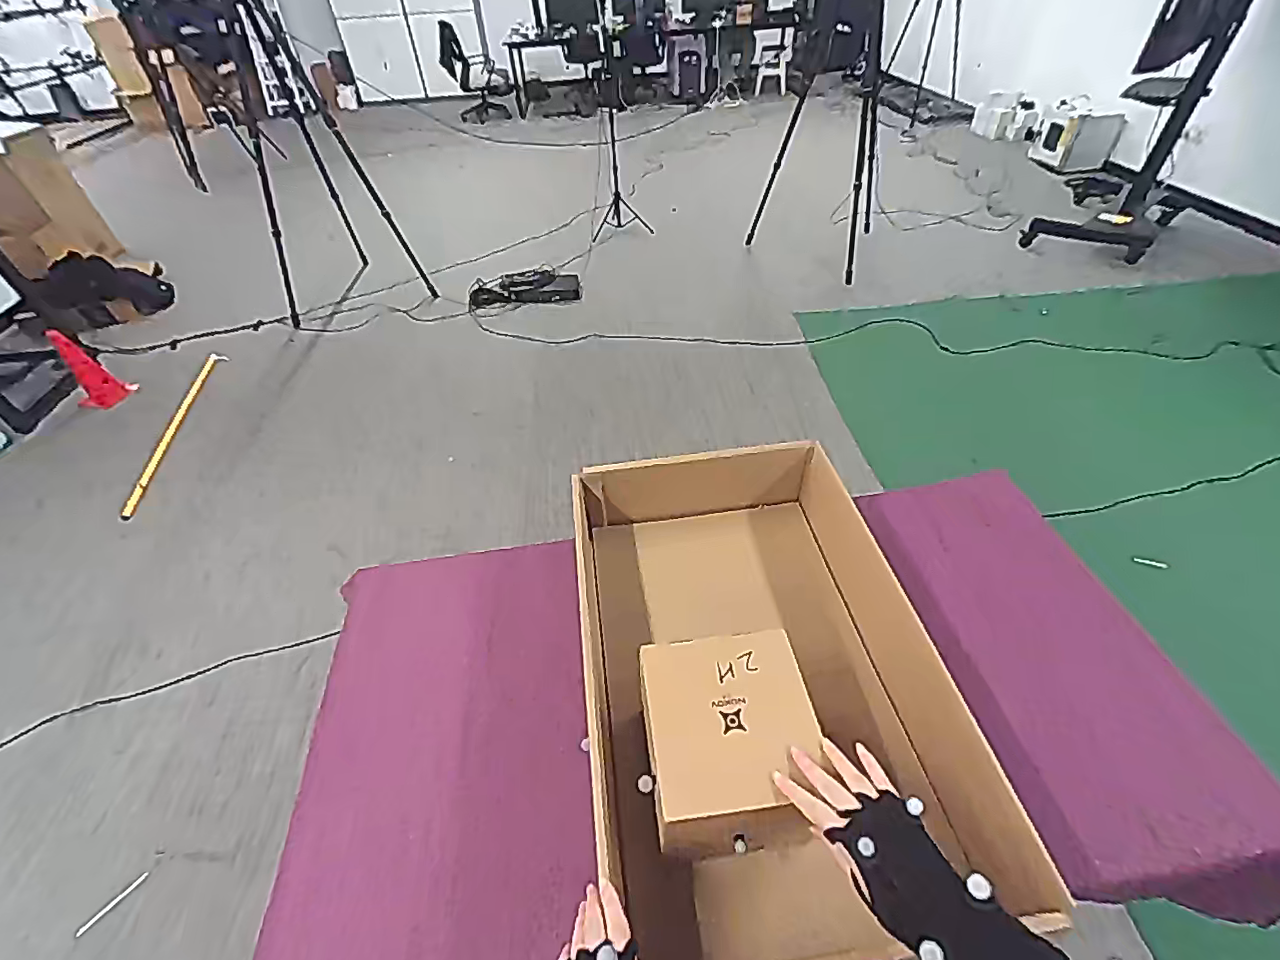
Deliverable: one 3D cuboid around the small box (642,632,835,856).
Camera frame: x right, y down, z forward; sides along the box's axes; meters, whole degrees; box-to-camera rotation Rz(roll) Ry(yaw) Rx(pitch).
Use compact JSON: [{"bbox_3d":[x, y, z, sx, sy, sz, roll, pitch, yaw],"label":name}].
[{"bbox_3d":[0.097,0.299,0.606,0.168,0.176,0.179,-6,44,-3],"label":"small box"}]
